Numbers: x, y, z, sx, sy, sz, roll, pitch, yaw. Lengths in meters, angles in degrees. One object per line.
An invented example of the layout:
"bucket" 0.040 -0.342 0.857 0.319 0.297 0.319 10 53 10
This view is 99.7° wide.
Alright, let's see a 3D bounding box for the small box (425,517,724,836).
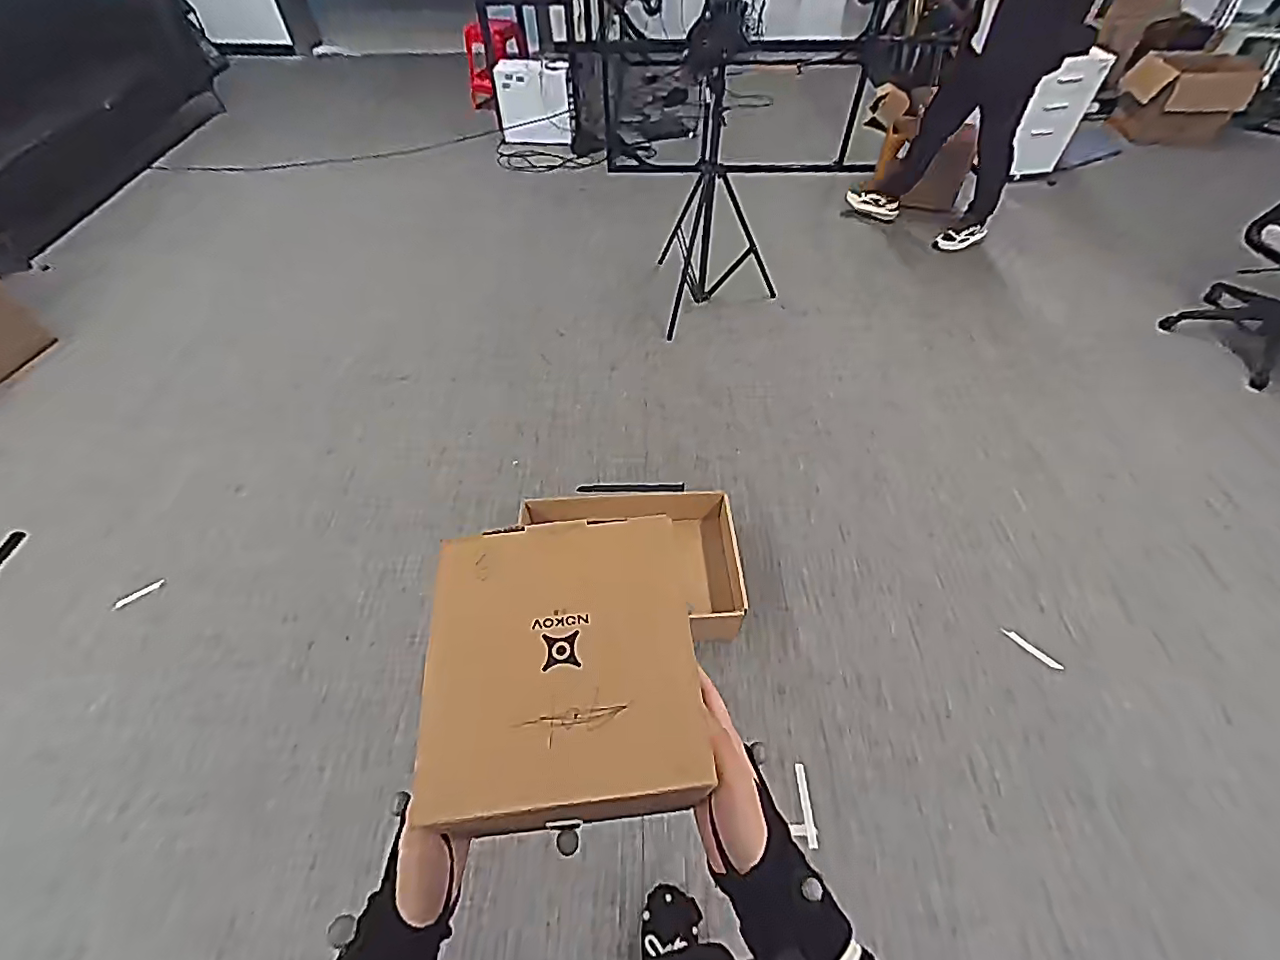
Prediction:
"small box" -0.046 0.150 0.405 0.168 0.176 0.179 -6 56 -5
